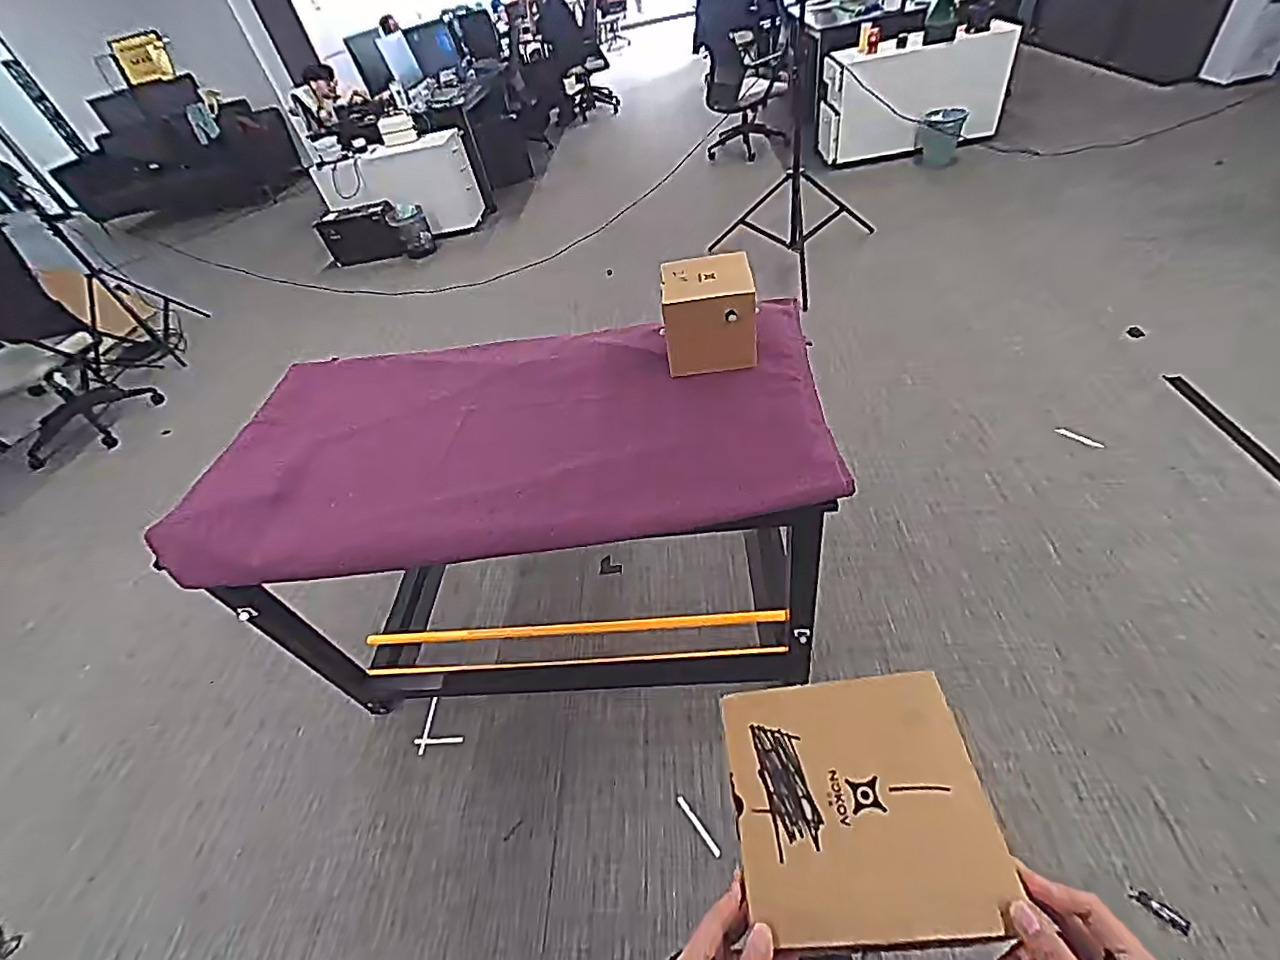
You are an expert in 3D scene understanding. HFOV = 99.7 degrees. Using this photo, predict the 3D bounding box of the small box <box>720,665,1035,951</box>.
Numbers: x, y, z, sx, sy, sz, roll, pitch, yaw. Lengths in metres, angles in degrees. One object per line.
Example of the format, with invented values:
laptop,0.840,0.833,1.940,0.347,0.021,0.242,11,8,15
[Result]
small box,0.174,0.276,0.448,0.179,0.176,0.168,-12,47,9

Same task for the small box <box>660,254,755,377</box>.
small box,0.137,-0.330,1.097,0.179,0.176,0.168,-6,46,8
